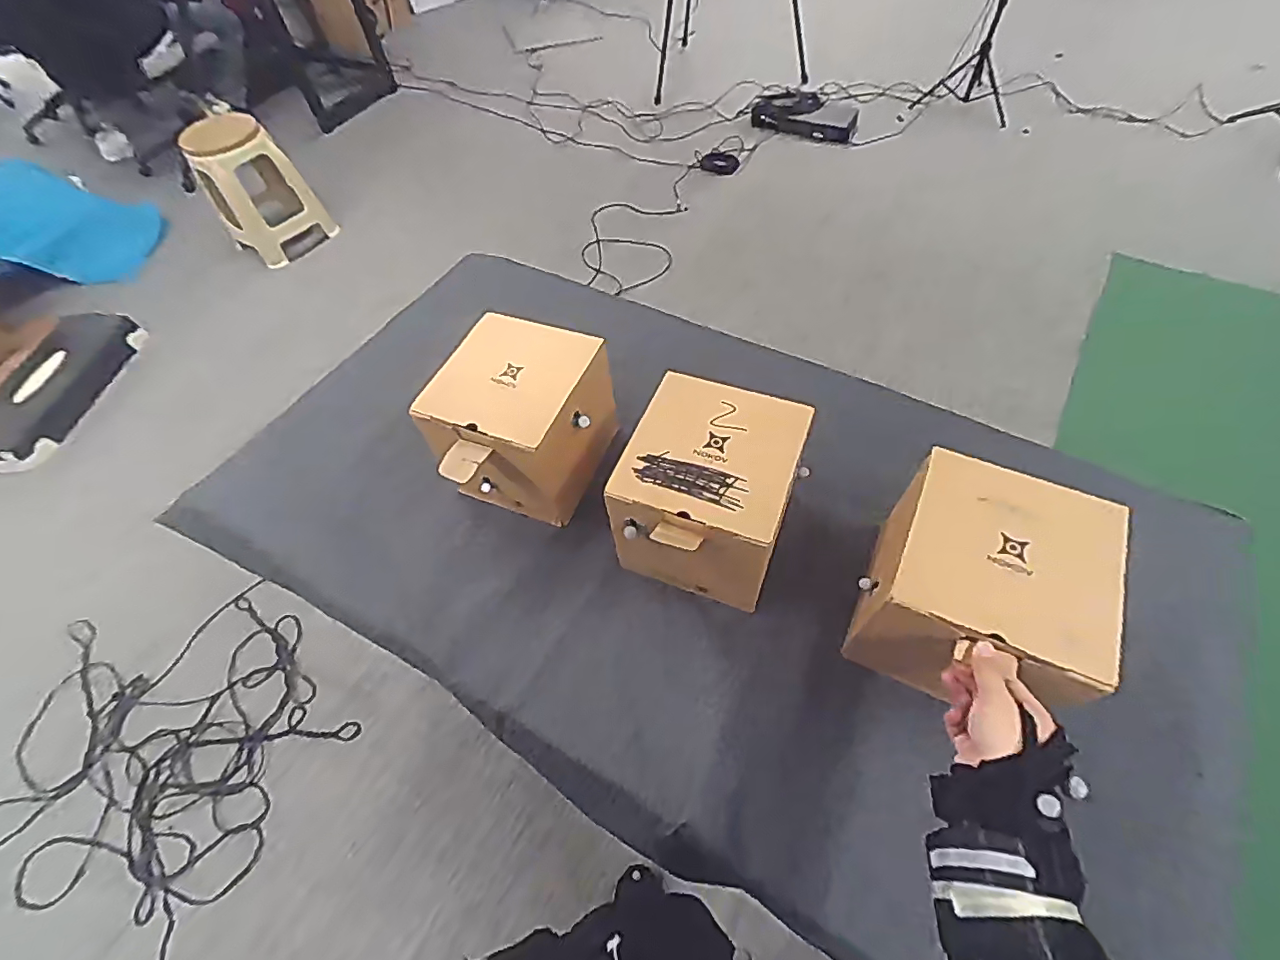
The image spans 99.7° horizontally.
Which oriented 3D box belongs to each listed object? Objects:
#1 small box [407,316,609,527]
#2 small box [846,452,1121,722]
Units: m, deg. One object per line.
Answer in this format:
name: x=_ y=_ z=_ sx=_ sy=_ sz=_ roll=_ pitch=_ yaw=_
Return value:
small box: x=-0.147 y=-0.071 z=0.680 sx=0.168 sy=0.176 sz=0.179 roll=17 pitch=60 yaw=15
small box: x=0.317 y=0.109 z=0.527 sx=0.168 sy=0.176 sz=0.179 roll=21 pitch=60 yaw=16
